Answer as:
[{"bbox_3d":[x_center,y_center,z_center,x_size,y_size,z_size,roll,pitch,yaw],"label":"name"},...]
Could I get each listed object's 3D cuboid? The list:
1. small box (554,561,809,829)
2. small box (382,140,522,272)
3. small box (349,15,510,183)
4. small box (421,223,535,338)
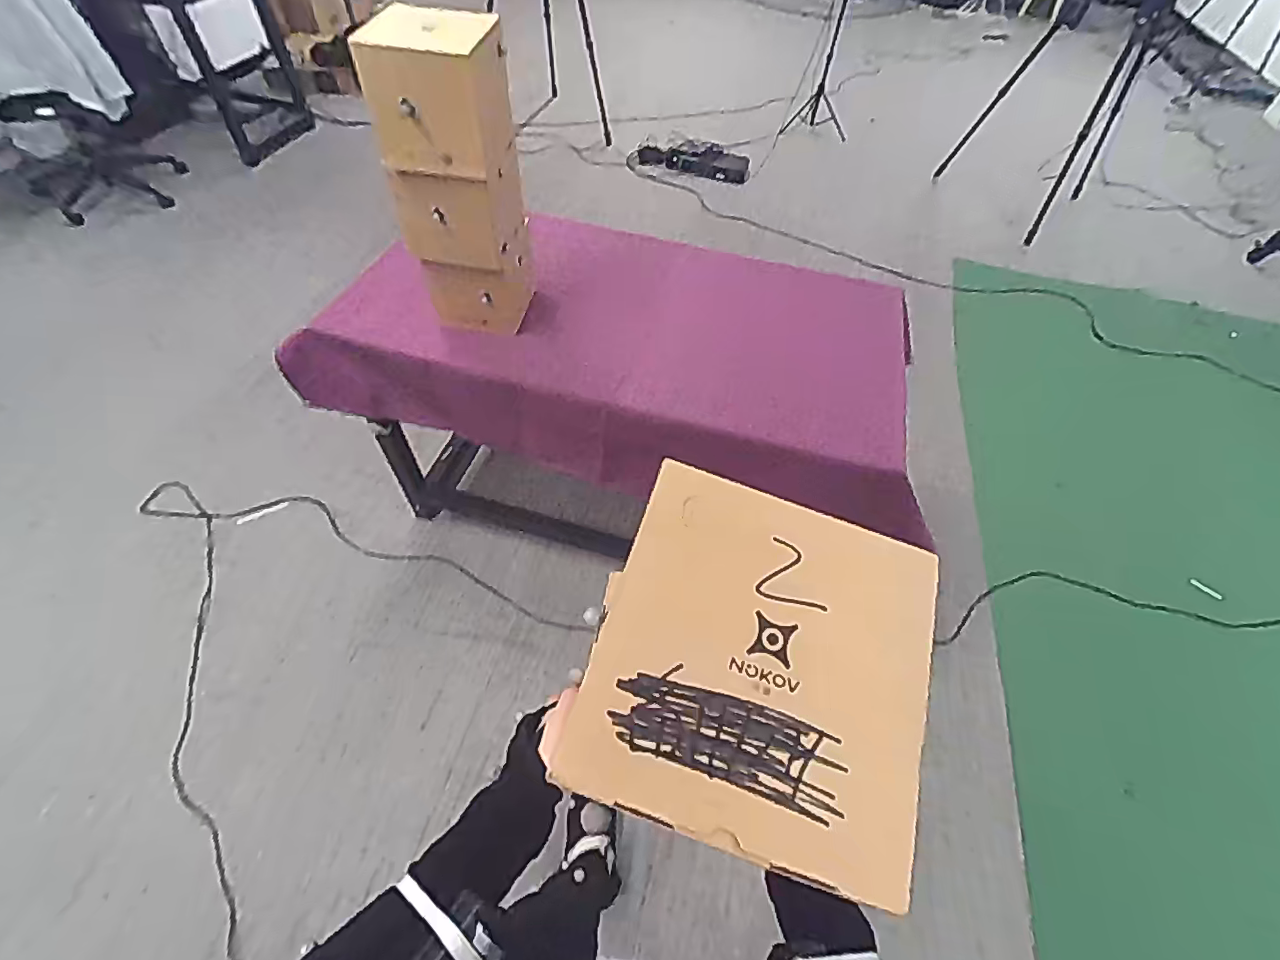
[{"bbox_3d":[0.033,0.191,0.491,0.179,0.176,0.168,14,65,1],"label":"small box"},{"bbox_3d":[-0.322,-0.498,0.973,0.179,0.176,0.168,9,53,3],"label":"small box"},{"bbox_3d":[-0.308,-0.585,0.836,0.168,0.176,0.179,6,52,0],"label":"small box"},{"bbox_3d":[-0.321,-0.419,1.119,0.168,0.176,0.179,9,52,3],"label":"small box"}]
